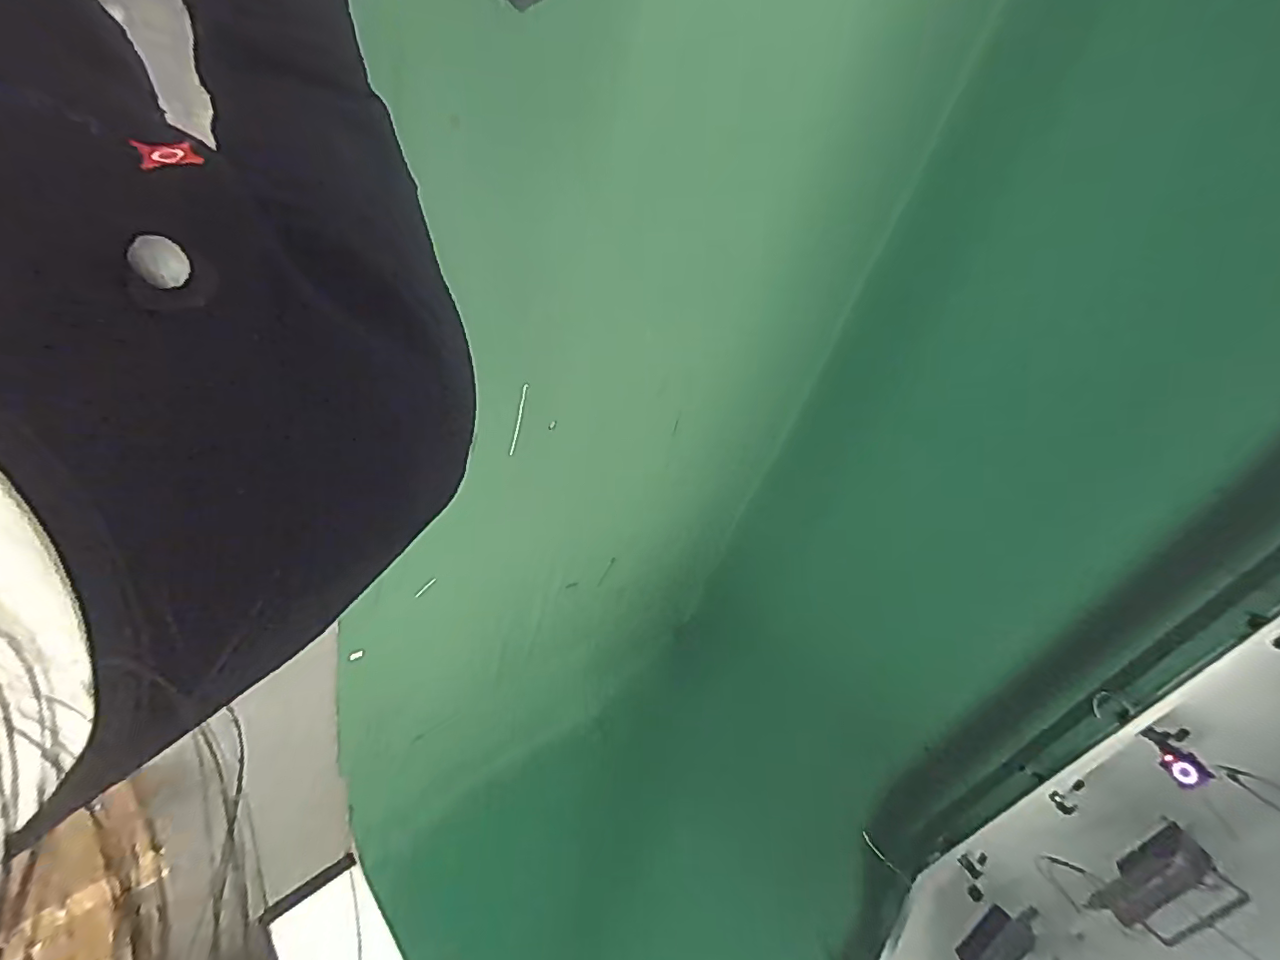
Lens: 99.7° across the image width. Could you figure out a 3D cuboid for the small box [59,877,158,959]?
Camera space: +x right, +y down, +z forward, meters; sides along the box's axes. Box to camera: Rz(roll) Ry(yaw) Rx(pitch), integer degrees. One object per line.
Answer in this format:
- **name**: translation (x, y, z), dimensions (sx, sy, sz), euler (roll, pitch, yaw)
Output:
- **small box**: translation (-1.552, 1.325, 1.578), dimensions (0.179, 0.176, 0.168), euler (-19, 133, -42)
